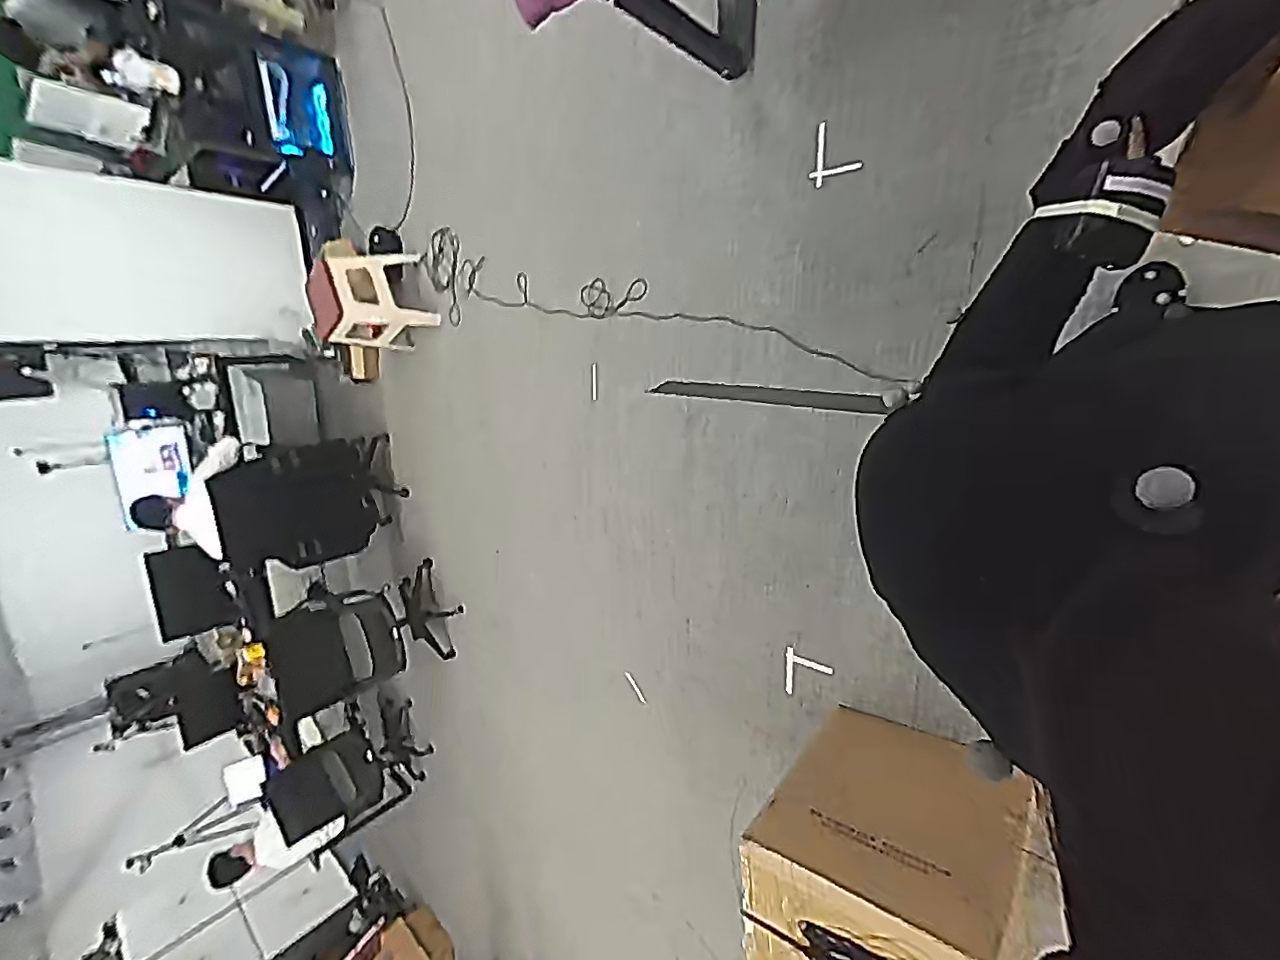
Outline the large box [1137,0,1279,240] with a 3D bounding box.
[{"bbox_3d":[0.684,-0.329,0.379,0.408,0.320,0.320,28,123,29],"label":"large box"}]
